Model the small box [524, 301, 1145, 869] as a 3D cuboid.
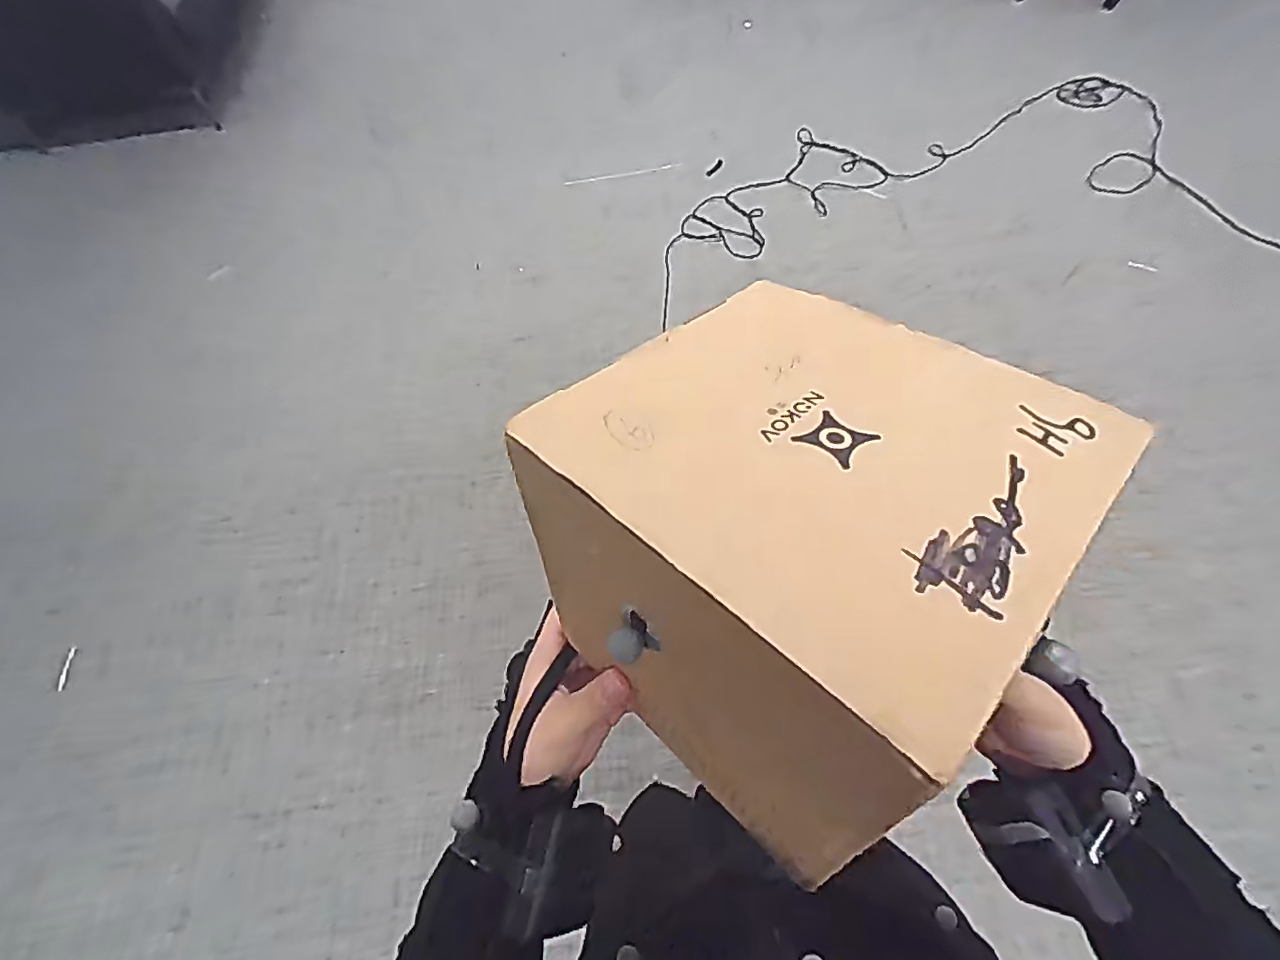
[{"bbox_3d":[0.073,0.044,0.264,0.168,0.176,0.179,-37,54,-27],"label":"small box"}]
